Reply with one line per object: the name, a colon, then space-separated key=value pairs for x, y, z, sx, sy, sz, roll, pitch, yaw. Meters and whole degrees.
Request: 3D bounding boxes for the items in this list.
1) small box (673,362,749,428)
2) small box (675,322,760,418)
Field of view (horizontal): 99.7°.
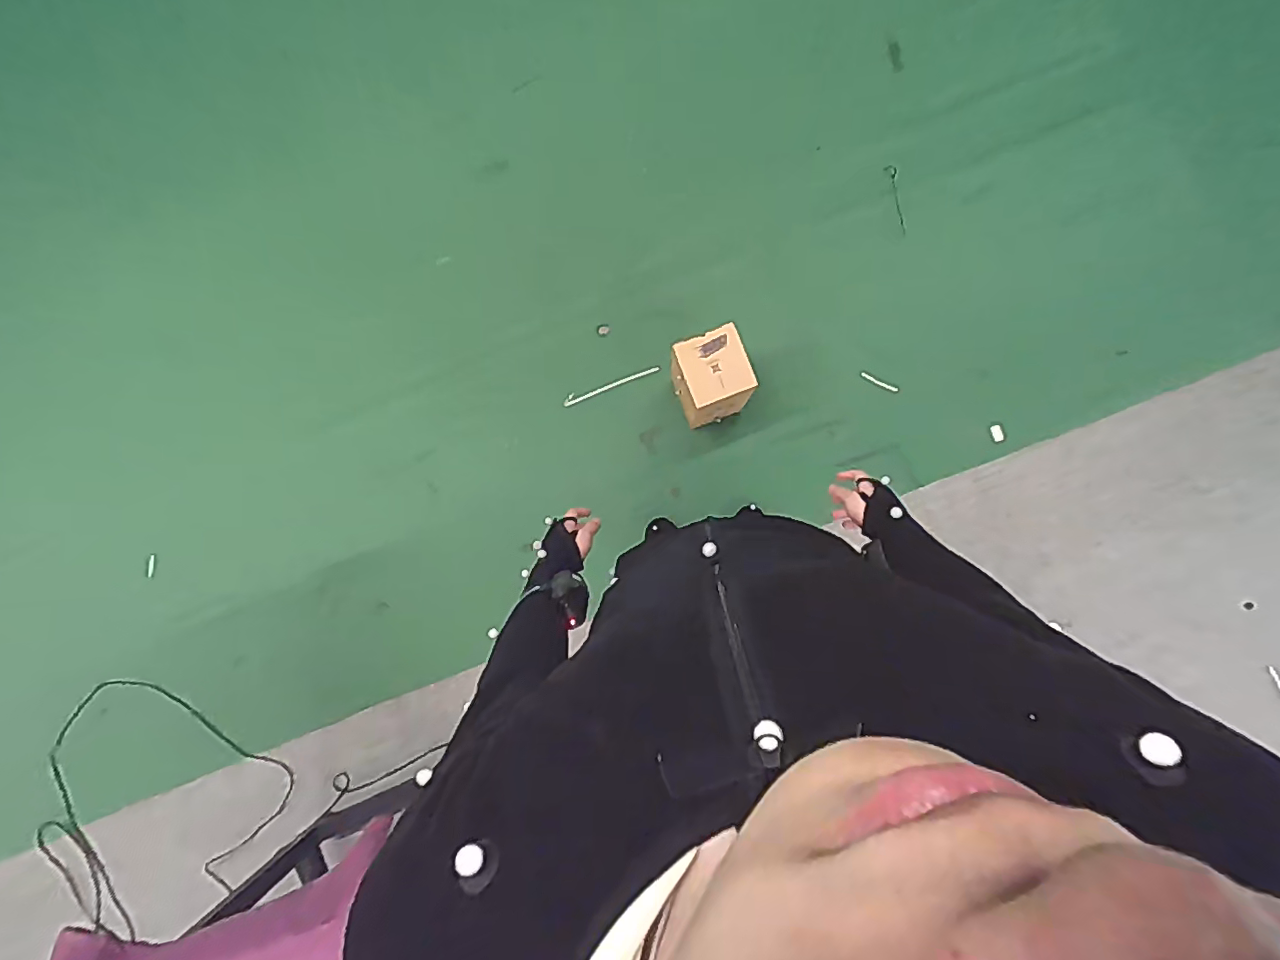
small box: x=0.200 y=-0.270 z=1.582 sx=0.168 sy=0.176 sz=0.179 roll=-21 pitch=86 yaw=2
small box: x=0.193 y=-0.281 z=1.418 sx=0.168 sy=0.176 sz=0.179 roll=-21 pitch=86 yaw=1
